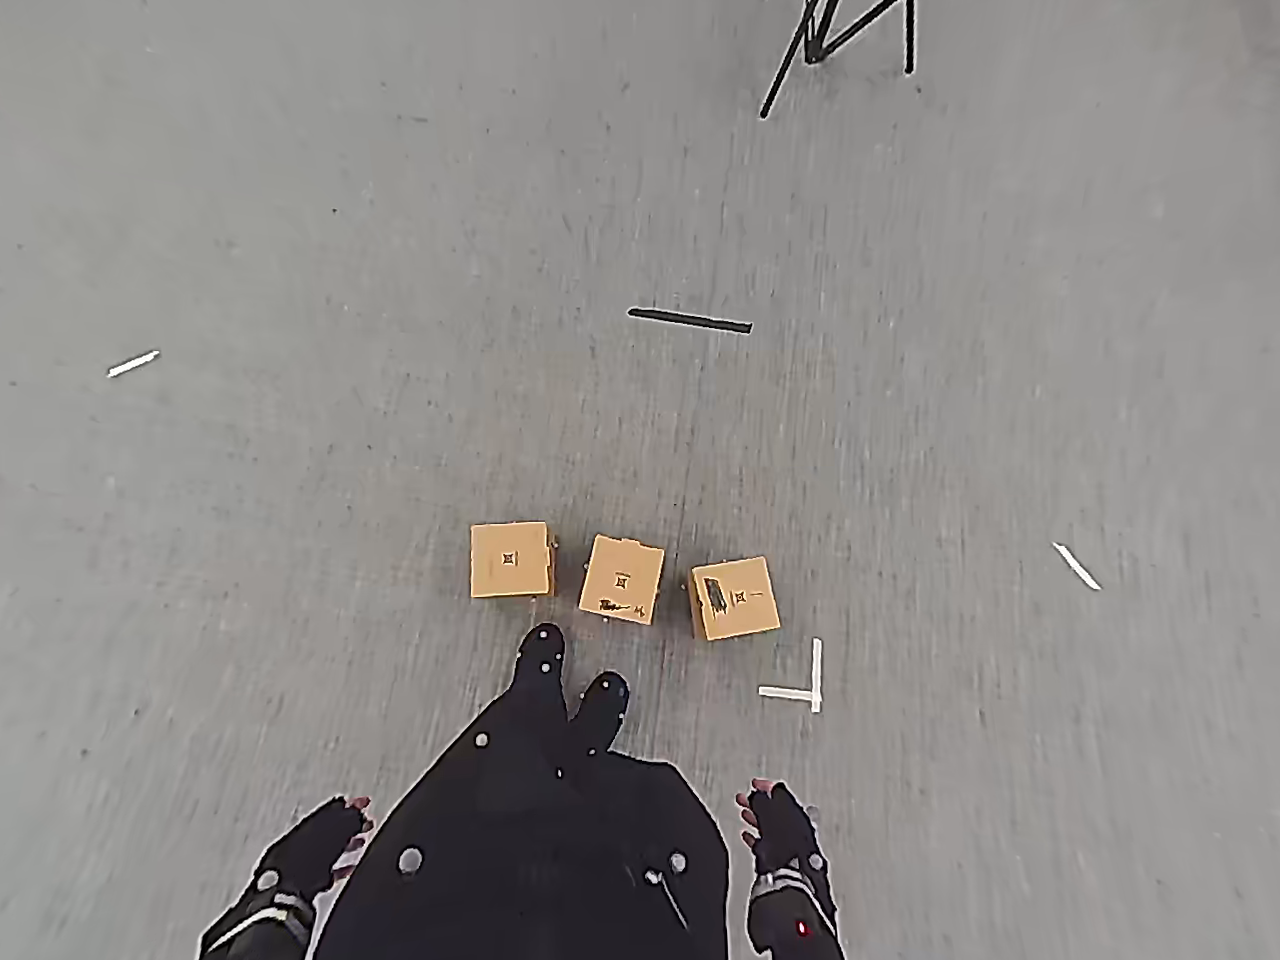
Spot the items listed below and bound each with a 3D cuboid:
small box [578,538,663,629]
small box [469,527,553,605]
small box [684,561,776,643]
[{"bbox_3d":[-0.050,0.255,1.307,0.168,0.176,0.179,13,74,0],"label":"small box"},{"bbox_3d":[-0.303,0.210,1.304,0.179,0.176,0.168,-3,74,-3],"label":"small box"},{"bbox_3d":[0.207,0.300,1.309,0.179,0.176,0.168,-8,75,-7],"label":"small box"}]
